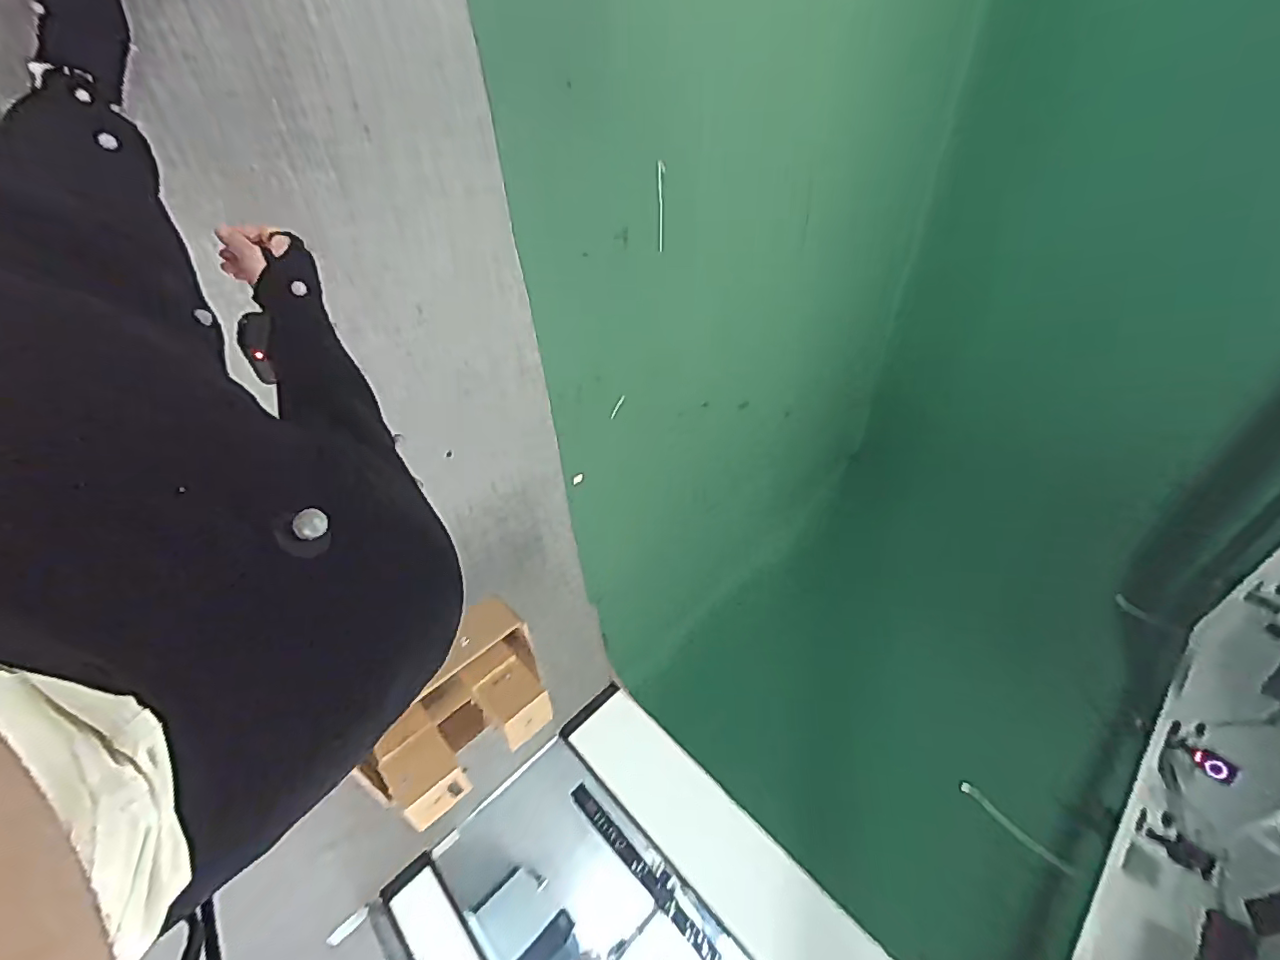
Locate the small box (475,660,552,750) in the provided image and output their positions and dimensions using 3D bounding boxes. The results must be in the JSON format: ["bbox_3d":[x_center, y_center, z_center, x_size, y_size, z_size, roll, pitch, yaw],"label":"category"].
[{"bbox_3d":[-0.406,0.719,1.744,0.168,0.176,0.179,-33,139,-32],"label":"small box"}]
